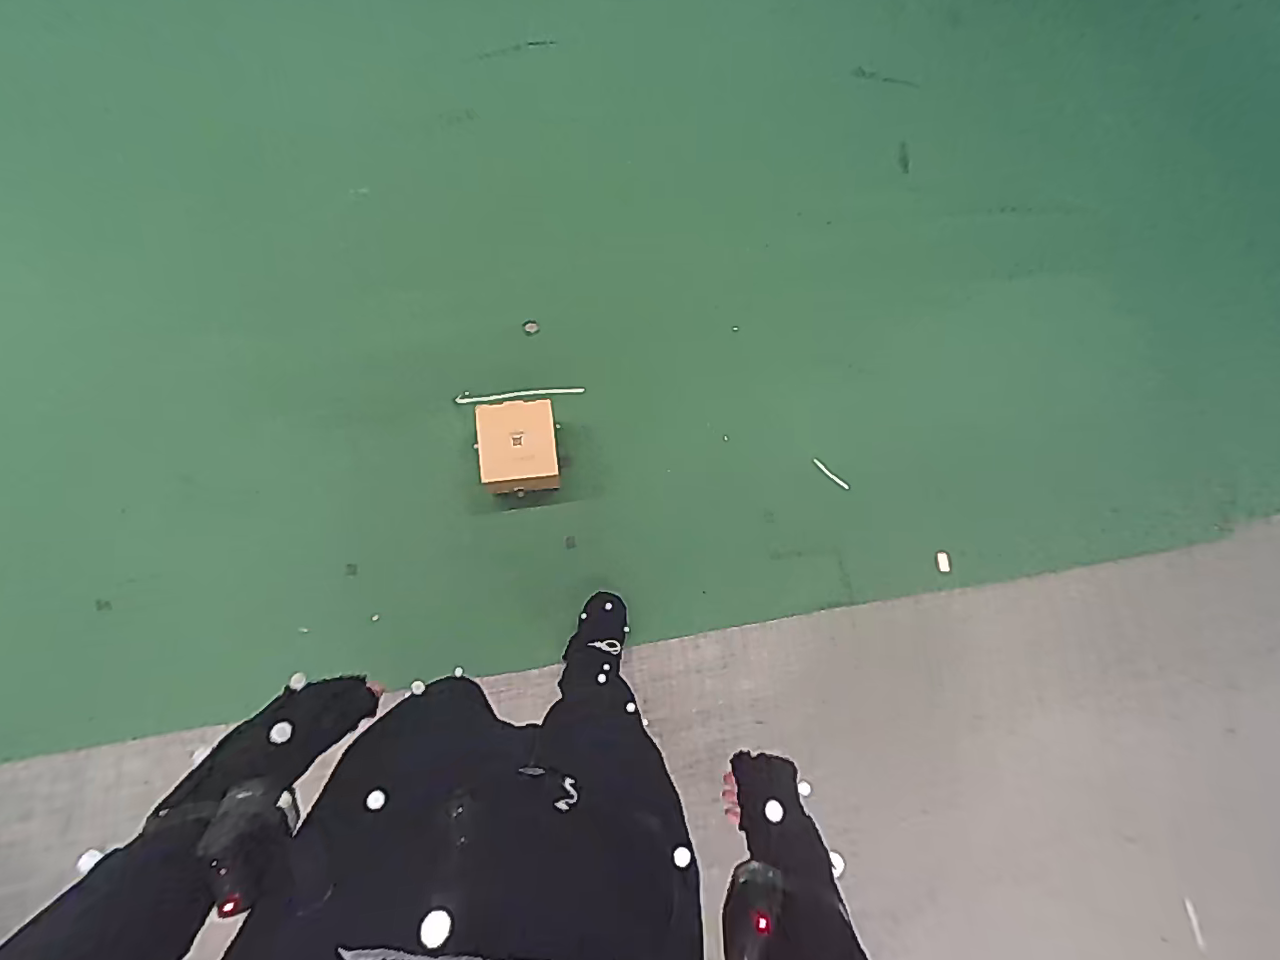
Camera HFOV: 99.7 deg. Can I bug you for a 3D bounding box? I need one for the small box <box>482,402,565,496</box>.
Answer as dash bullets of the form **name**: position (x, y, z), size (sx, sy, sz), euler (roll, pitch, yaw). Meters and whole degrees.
- **small box**: position (-0.266, -0.067, 1.260), size (0.168, 0.176, 0.179), euler (-7, 81, -7)
